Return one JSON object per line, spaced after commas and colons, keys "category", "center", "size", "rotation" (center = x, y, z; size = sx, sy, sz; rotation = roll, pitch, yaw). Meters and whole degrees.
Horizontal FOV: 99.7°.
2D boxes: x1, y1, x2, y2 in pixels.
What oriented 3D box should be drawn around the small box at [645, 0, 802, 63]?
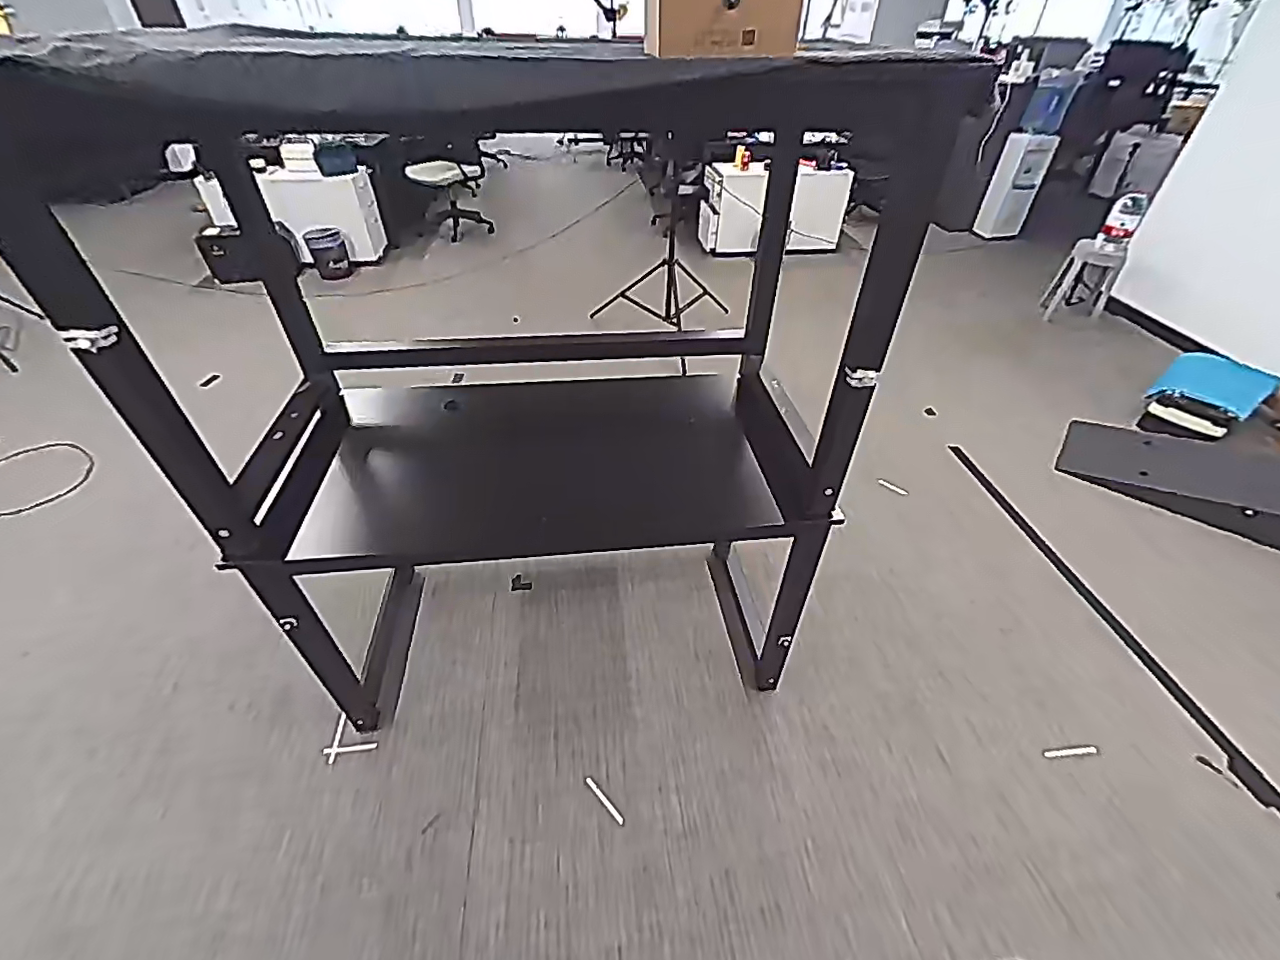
{"category": "small box", "center": [0.095, -0.609, 0.644], "size": [0.168, 0.176, 0.179], "rotation": [-4, 40, -4]}
